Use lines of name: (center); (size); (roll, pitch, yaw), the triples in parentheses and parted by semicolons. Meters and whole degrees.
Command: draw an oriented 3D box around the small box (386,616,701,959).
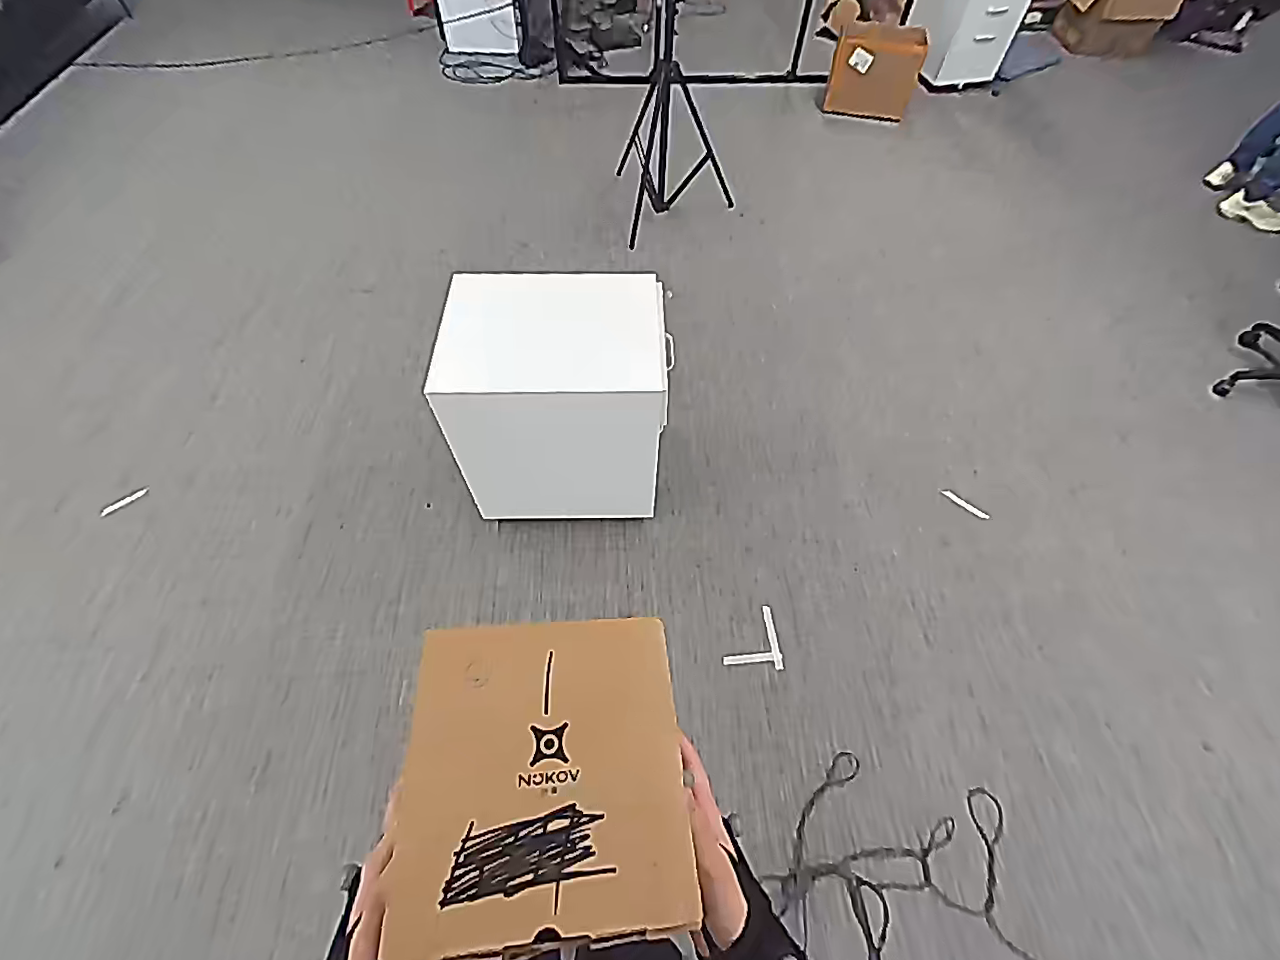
small box: (-0.061, 0.217, 0.390); (0.168, 0.176, 0.179); (-1, 51, -8)
